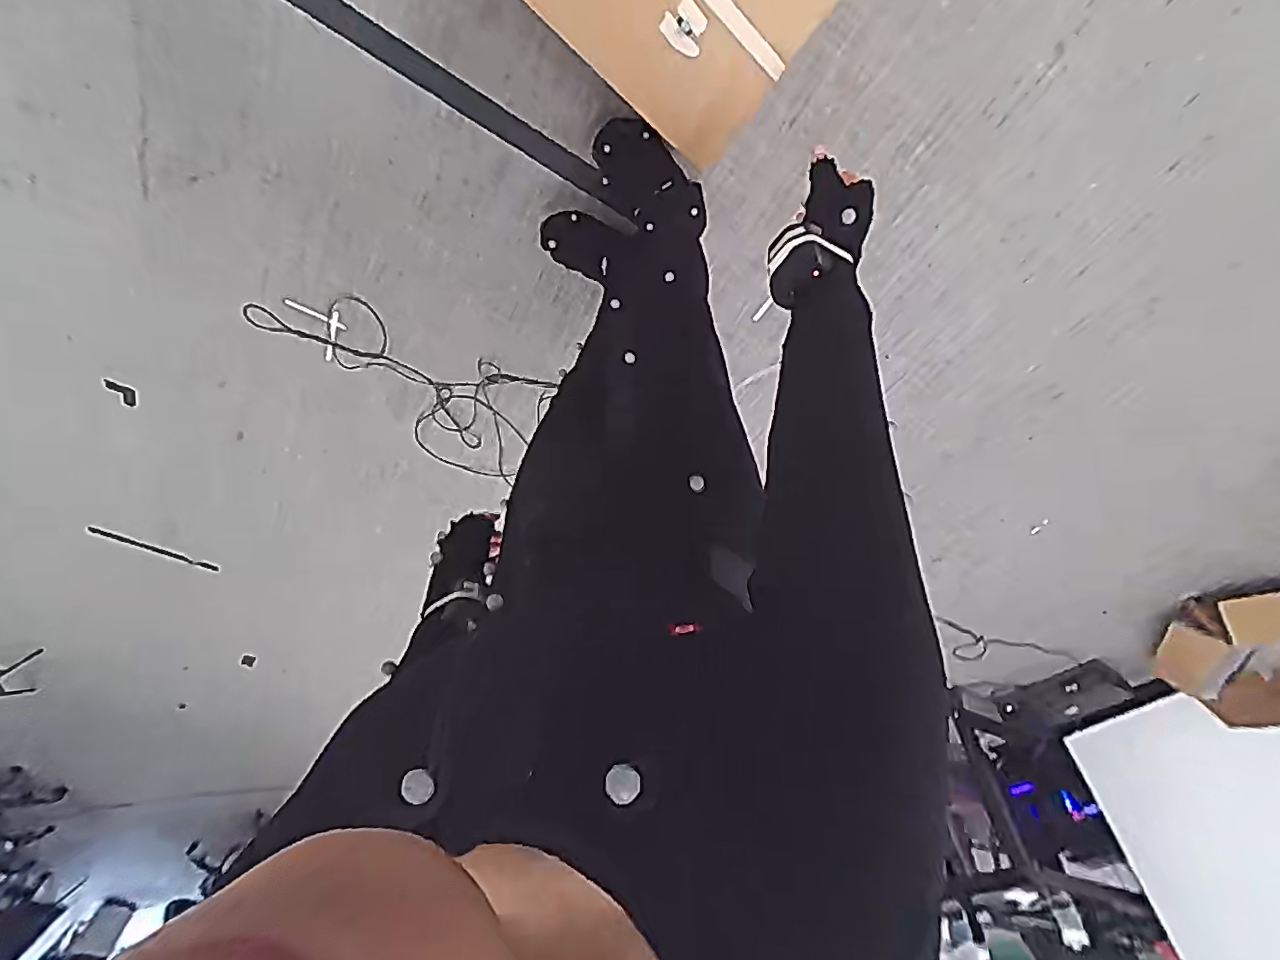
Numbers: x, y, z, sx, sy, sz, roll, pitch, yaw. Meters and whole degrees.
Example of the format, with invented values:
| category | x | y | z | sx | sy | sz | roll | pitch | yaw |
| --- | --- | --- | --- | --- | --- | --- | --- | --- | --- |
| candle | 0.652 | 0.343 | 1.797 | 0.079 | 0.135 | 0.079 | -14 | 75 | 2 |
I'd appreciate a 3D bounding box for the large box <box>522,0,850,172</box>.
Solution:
| category | x | y | z | sx | sy | sz | roll | pitch | yaw |
| --- | --- | --- | --- | --- | --- | --- | --- | --- | --- |
| large box | 0.046 | -0.743 | 0.771 | 0.408 | 0.320 | 0.320 | 31 | 126 | -26 |
